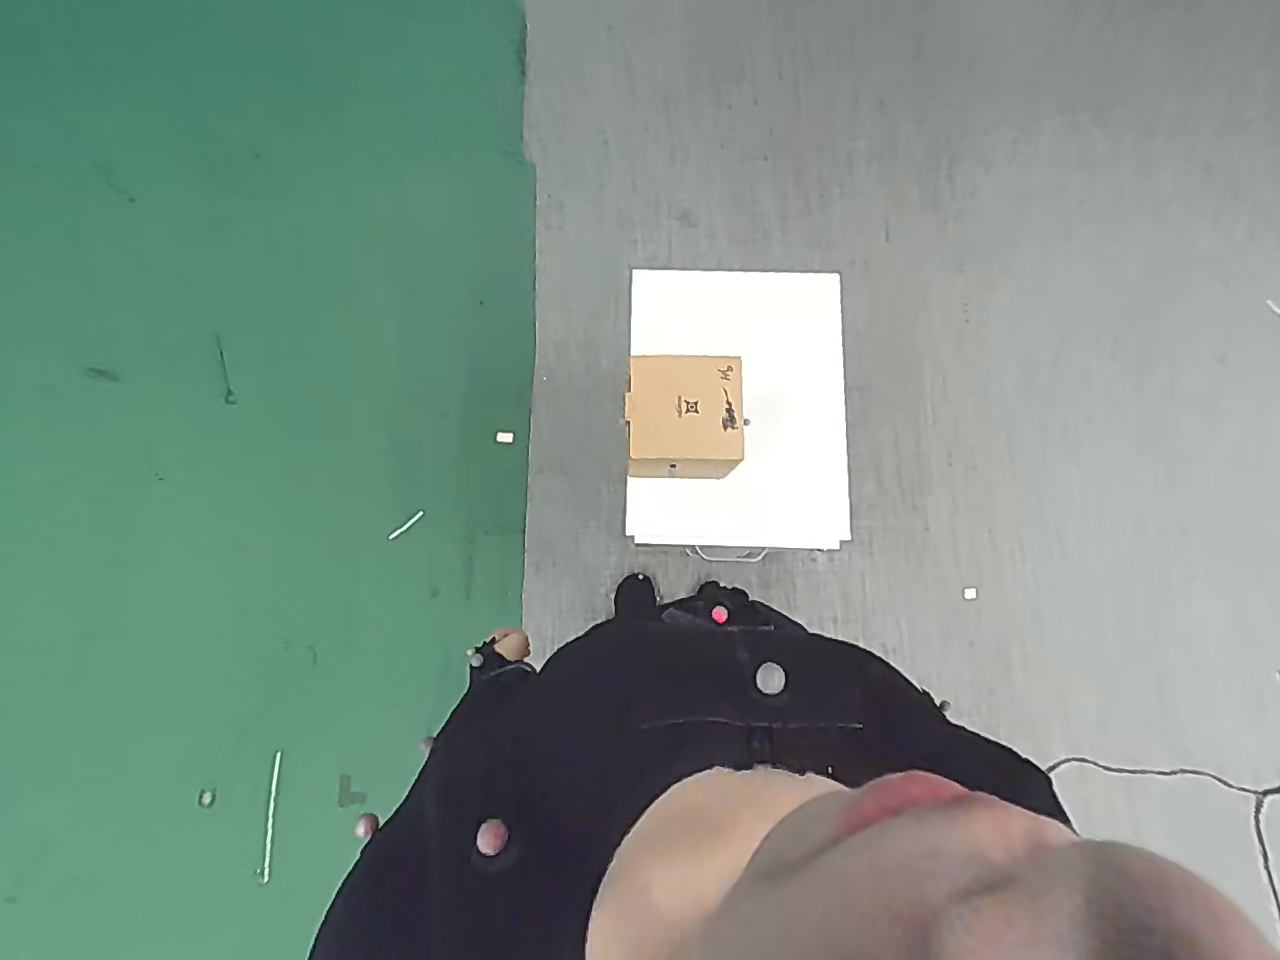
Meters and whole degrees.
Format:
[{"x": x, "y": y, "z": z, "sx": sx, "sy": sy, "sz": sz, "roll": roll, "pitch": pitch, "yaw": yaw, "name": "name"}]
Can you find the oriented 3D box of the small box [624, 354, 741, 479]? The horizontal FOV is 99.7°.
[{"x": 0.064, "y": -0.096, "z": 0.891, "sx": 0.179, "sy": 0.176, "sz": 0.168, "roll": 1, "pitch": 80, "yaw": -1, "name": "small box"}]
